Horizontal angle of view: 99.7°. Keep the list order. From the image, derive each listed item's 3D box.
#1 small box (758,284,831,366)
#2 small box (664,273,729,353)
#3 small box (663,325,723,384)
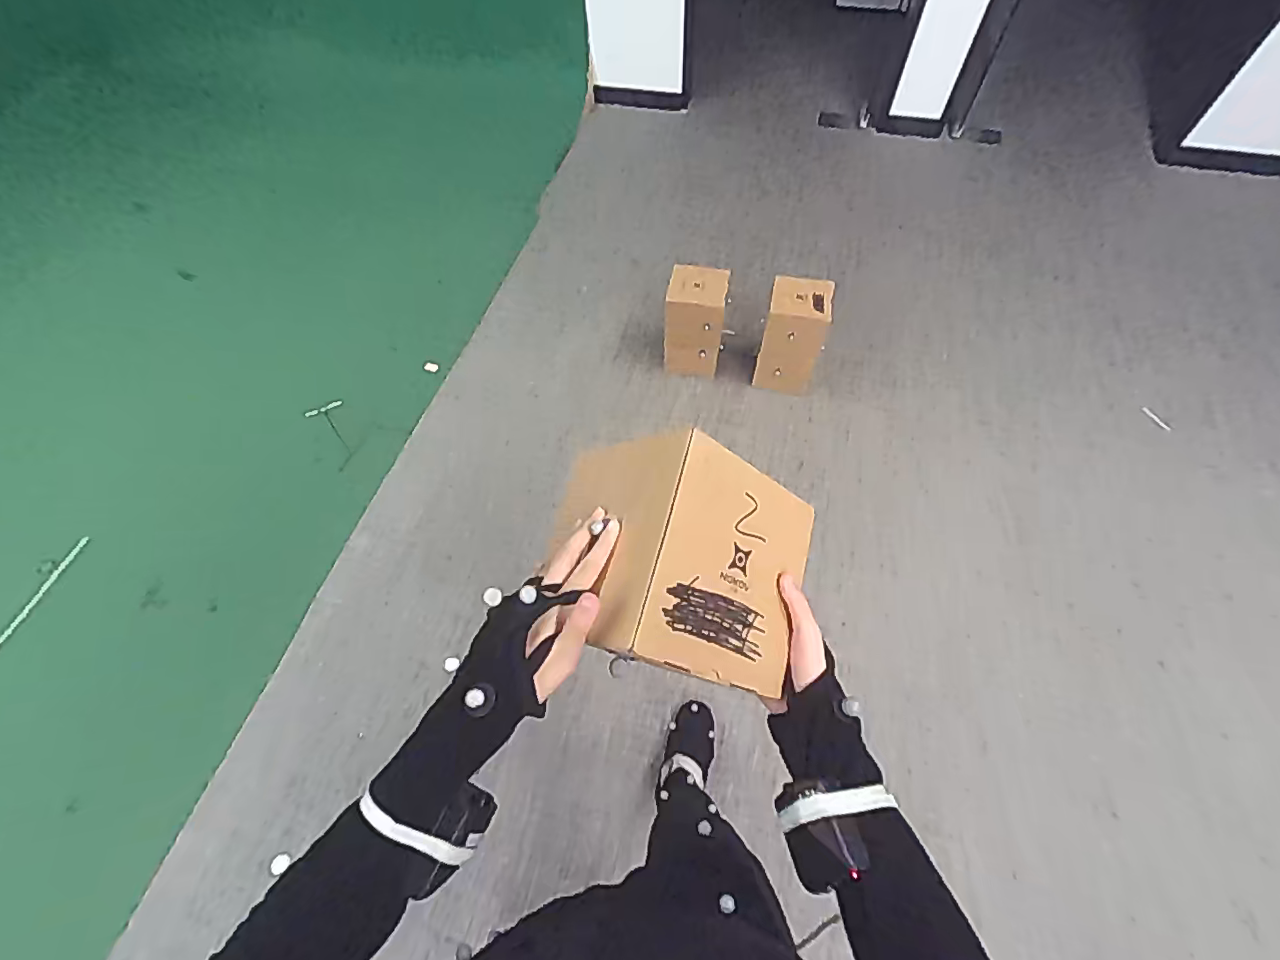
[{"bbox_3d":[0.470,-0.471,1.657,0.179,0.176,0.168,10,60,9],"label":"small box"},{"bbox_3d":[0.175,-0.520,1.700,0.179,0.176,0.168,9,60,8],"label":"small box"},{"bbox_3d":[0.180,-0.447,1.846,0.179,0.176,0.168,9,61,8],"label":"small box"}]
